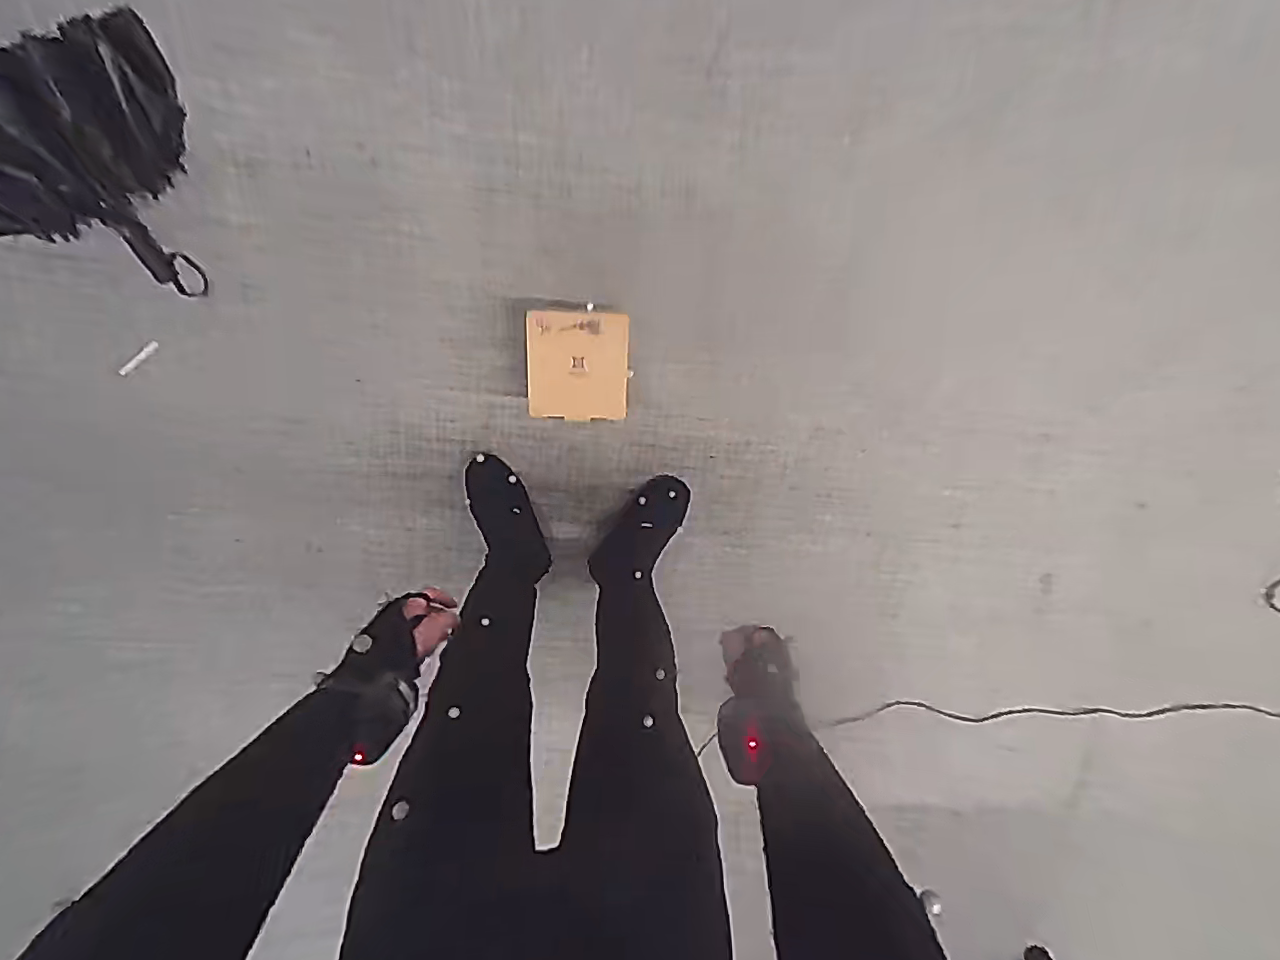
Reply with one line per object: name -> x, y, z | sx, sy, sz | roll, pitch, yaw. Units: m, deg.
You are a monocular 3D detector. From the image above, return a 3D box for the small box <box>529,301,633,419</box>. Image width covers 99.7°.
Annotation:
small box -> -0.101, -0.216, 0.954 | 0.168, 0.176, 0.179 | 2, 110, -4
